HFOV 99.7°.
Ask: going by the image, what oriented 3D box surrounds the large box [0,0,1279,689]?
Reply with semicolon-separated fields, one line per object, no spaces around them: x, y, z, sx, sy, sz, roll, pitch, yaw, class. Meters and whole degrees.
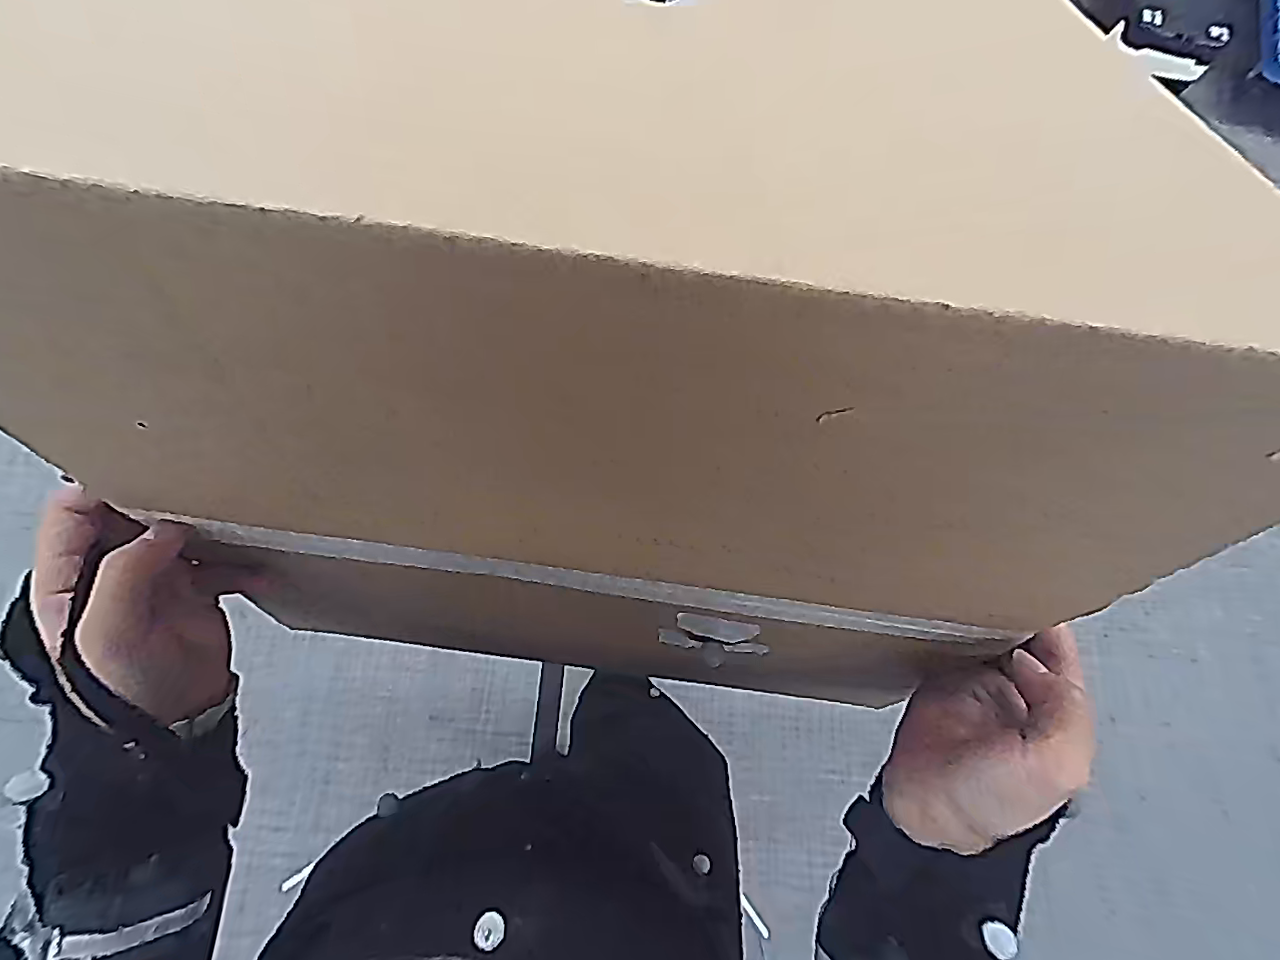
-0.007;-0.087;0.336;0.408;0.320;0.320;7;57;-1;large box
